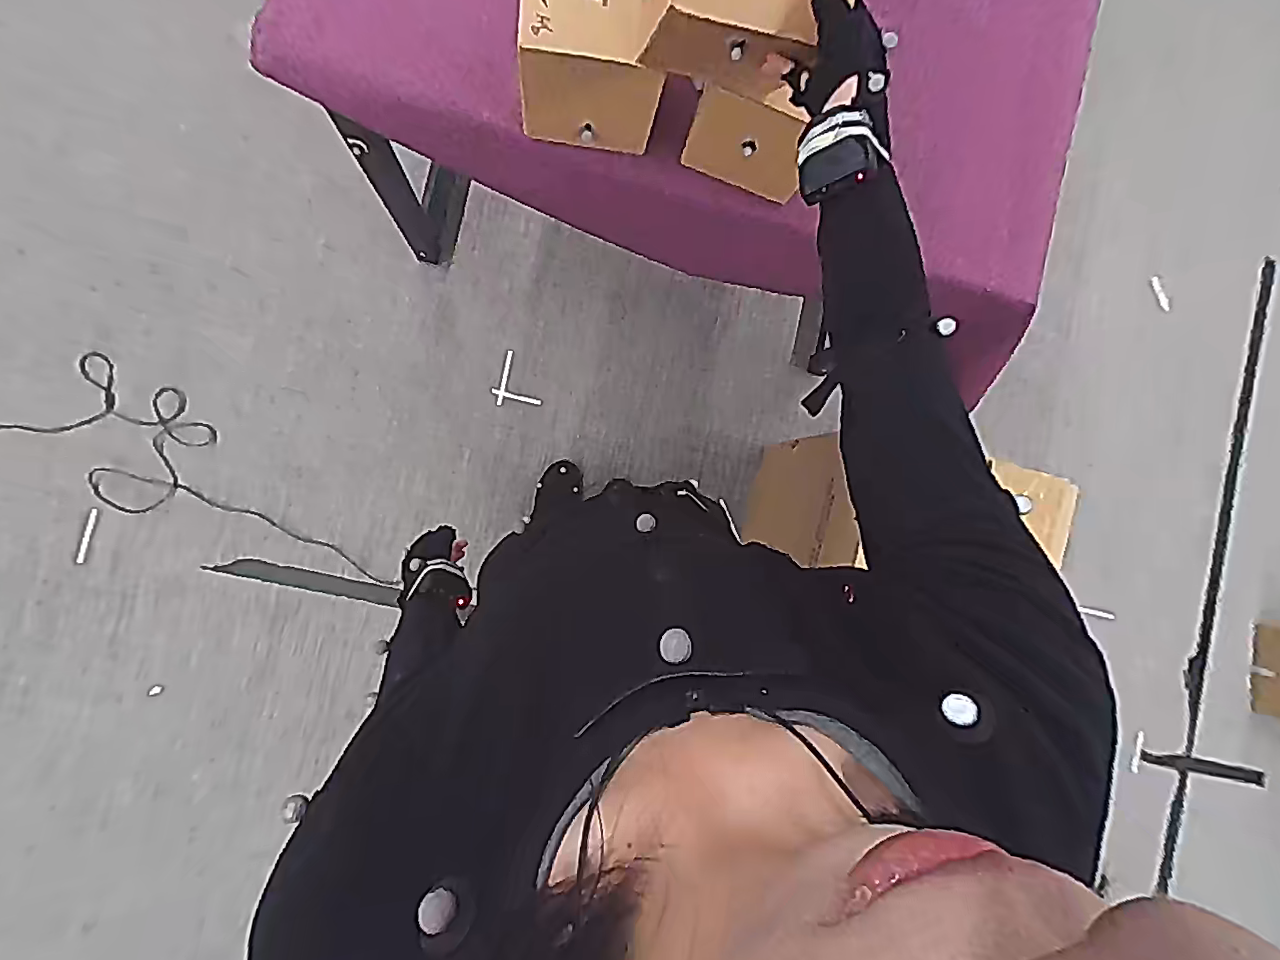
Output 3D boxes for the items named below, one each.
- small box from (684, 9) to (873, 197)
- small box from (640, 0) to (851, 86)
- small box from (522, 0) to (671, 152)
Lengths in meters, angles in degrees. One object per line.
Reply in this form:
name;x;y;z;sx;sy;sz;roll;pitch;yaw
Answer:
small box;0.179;-0.526;0.746;0.179;0.176;0.168;18;86;-7
small box;0.103;-0.523;0.539;0.179;0.176;0.168;2;113;-13
small box;-0.060;-0.566;0.710;0.179;0.176;0.168;3;88;-10
